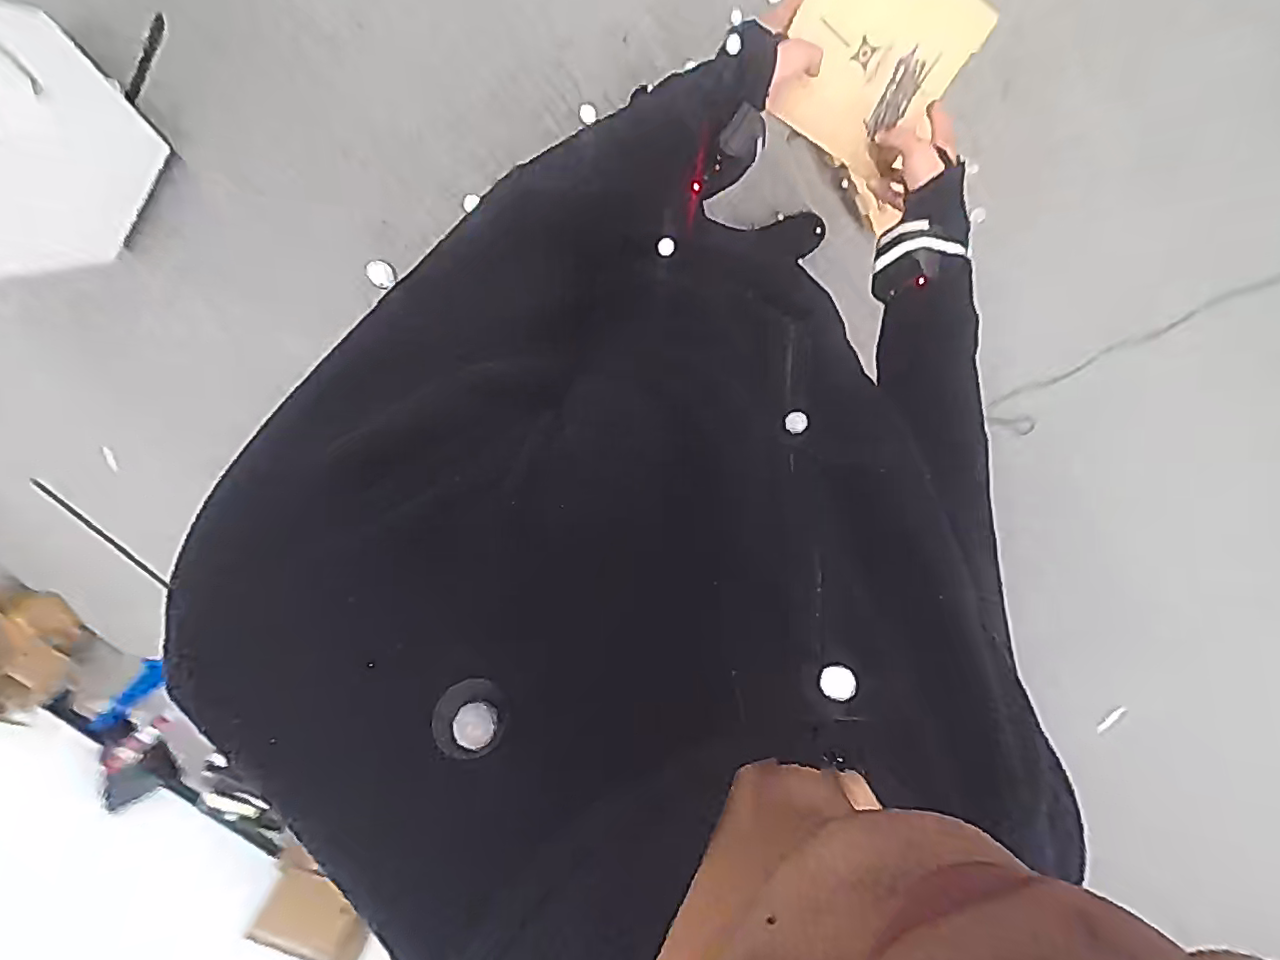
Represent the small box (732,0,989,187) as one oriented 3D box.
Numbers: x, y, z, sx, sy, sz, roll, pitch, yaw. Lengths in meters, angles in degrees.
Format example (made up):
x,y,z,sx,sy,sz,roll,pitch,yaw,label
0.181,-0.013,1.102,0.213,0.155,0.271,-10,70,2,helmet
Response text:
x,y,z,sx,sy,sz,roll,pitch,yaw,label
0.224,-0.465,0.598,0.179,0.176,0.168,22,126,-17,small box
